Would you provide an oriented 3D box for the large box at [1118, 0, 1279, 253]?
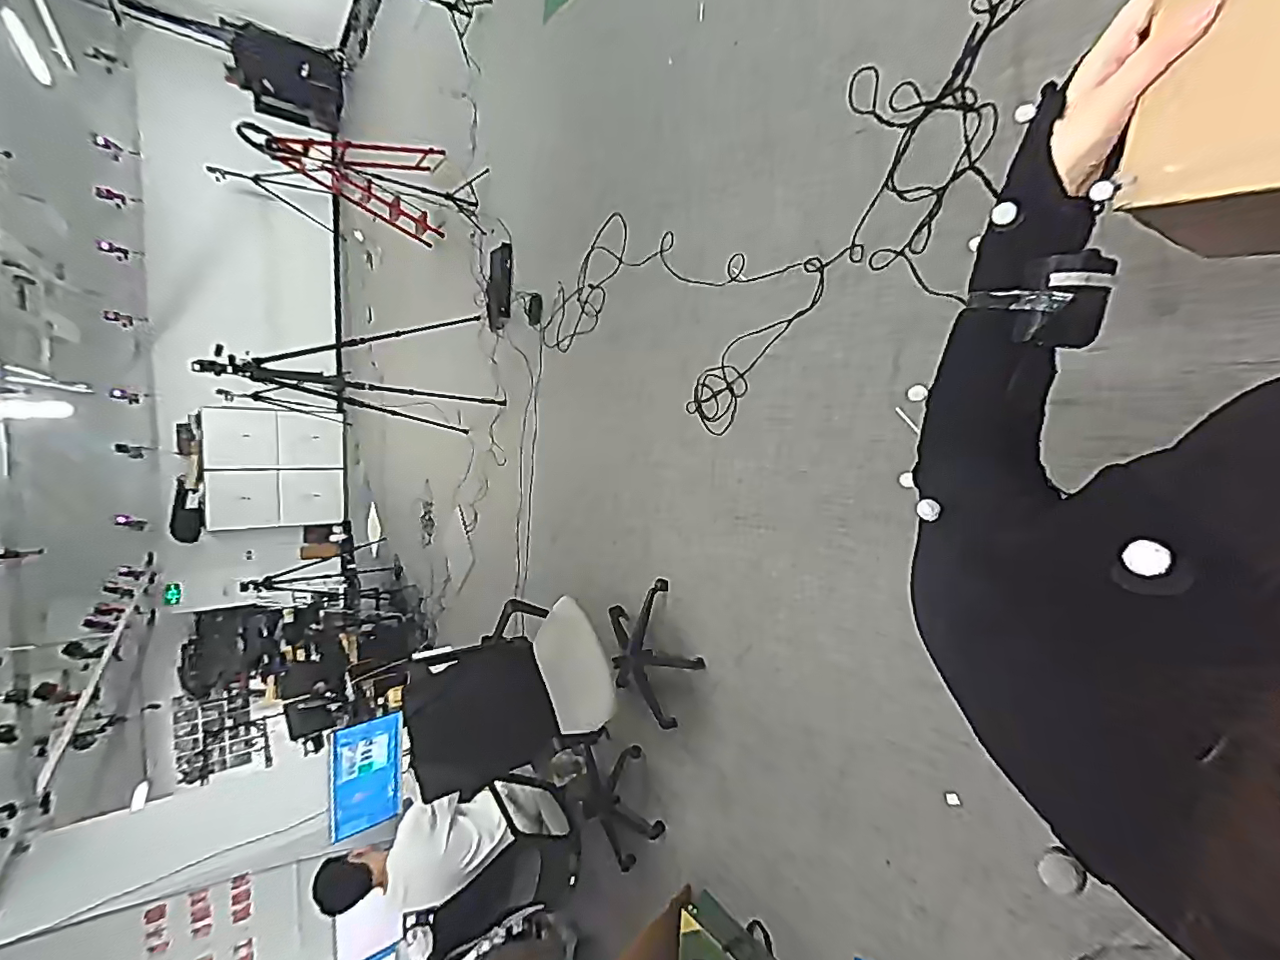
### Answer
[{"bbox_3d":[0.573,-0.313,0.270,0.408,0.320,0.320,20,113,52],"label":"large box"}]
